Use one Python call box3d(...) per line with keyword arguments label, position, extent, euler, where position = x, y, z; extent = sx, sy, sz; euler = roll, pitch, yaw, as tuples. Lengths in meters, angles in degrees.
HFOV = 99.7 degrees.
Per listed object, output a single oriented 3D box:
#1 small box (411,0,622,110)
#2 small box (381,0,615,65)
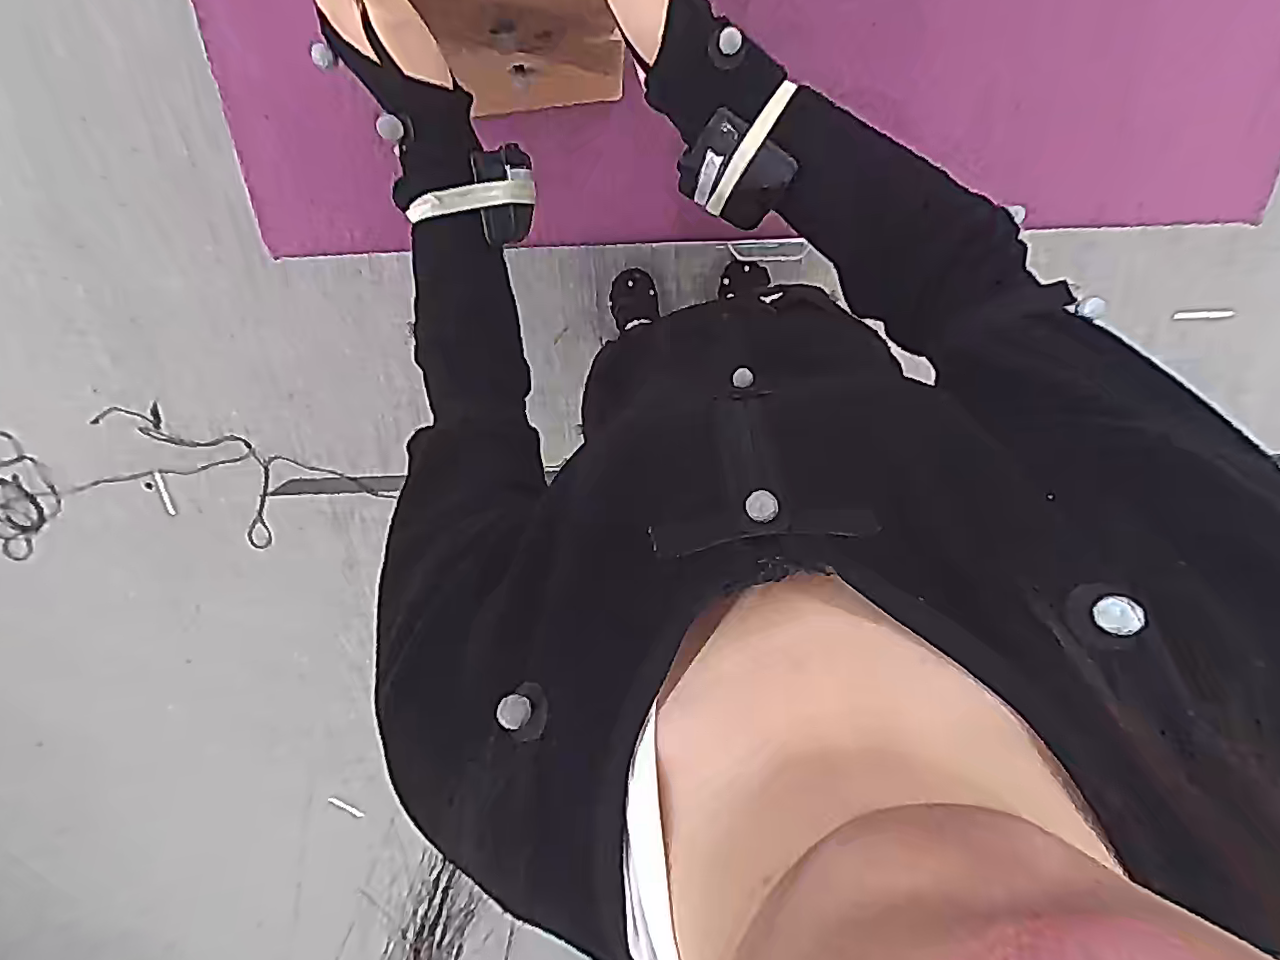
box3d(label="small box", position=(-0.112, -0.462, 0.496), extent=(0.179, 0.176, 0.168), euler=(-6, 112, 1))
box3d(label="small box", position=(-0.110, -0.405, 0.340), extent=(0.168, 0.176, 0.179), euler=(-10, 112, 2))
